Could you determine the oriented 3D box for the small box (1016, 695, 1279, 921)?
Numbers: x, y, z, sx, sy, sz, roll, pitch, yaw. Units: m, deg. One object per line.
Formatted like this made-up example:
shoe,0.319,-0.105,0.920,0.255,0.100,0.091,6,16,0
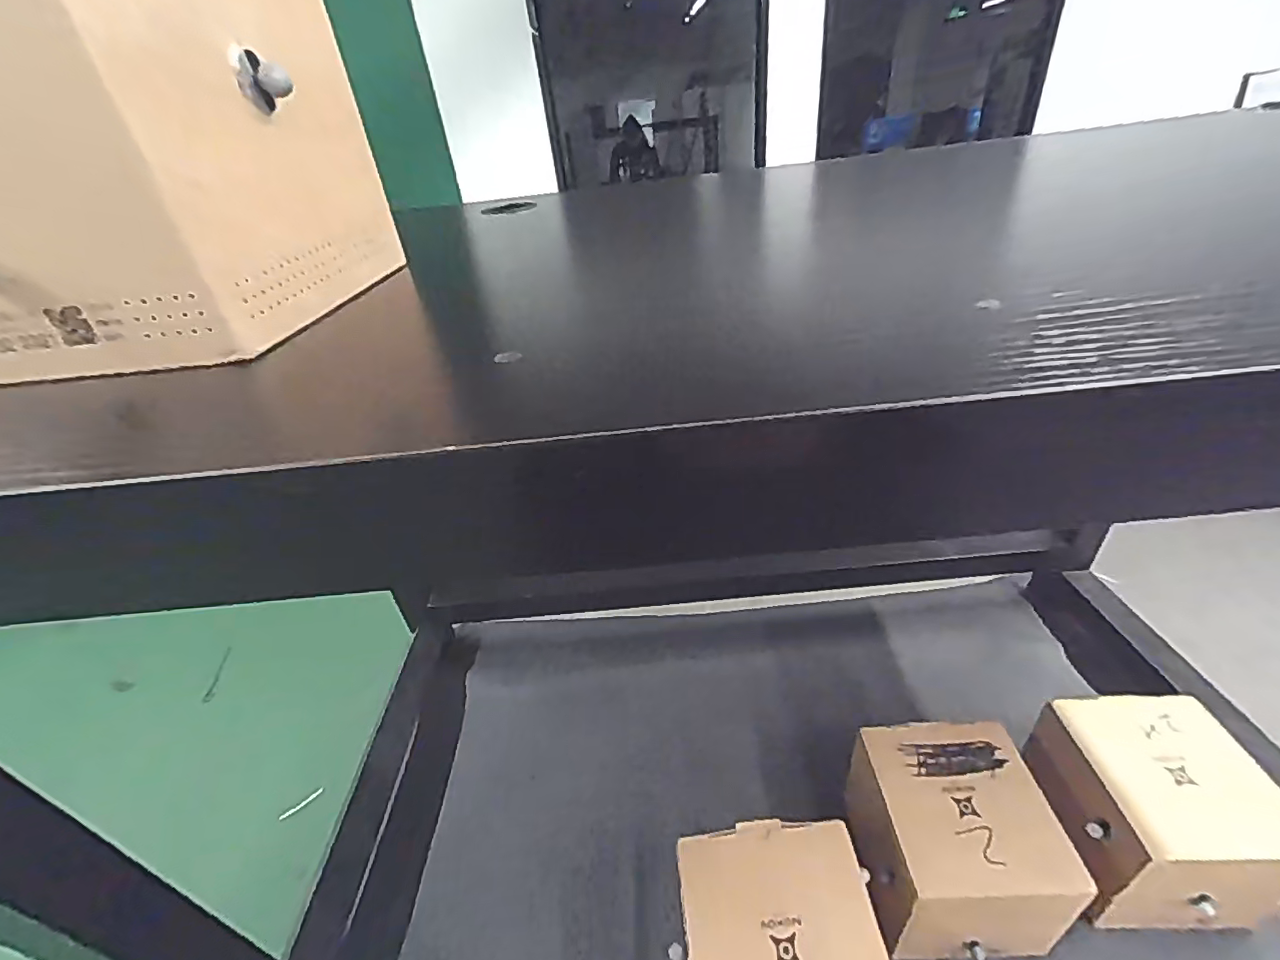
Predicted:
small box,0.579,0.376,0.623,0.168,0.176,0.179,-4,33,5
